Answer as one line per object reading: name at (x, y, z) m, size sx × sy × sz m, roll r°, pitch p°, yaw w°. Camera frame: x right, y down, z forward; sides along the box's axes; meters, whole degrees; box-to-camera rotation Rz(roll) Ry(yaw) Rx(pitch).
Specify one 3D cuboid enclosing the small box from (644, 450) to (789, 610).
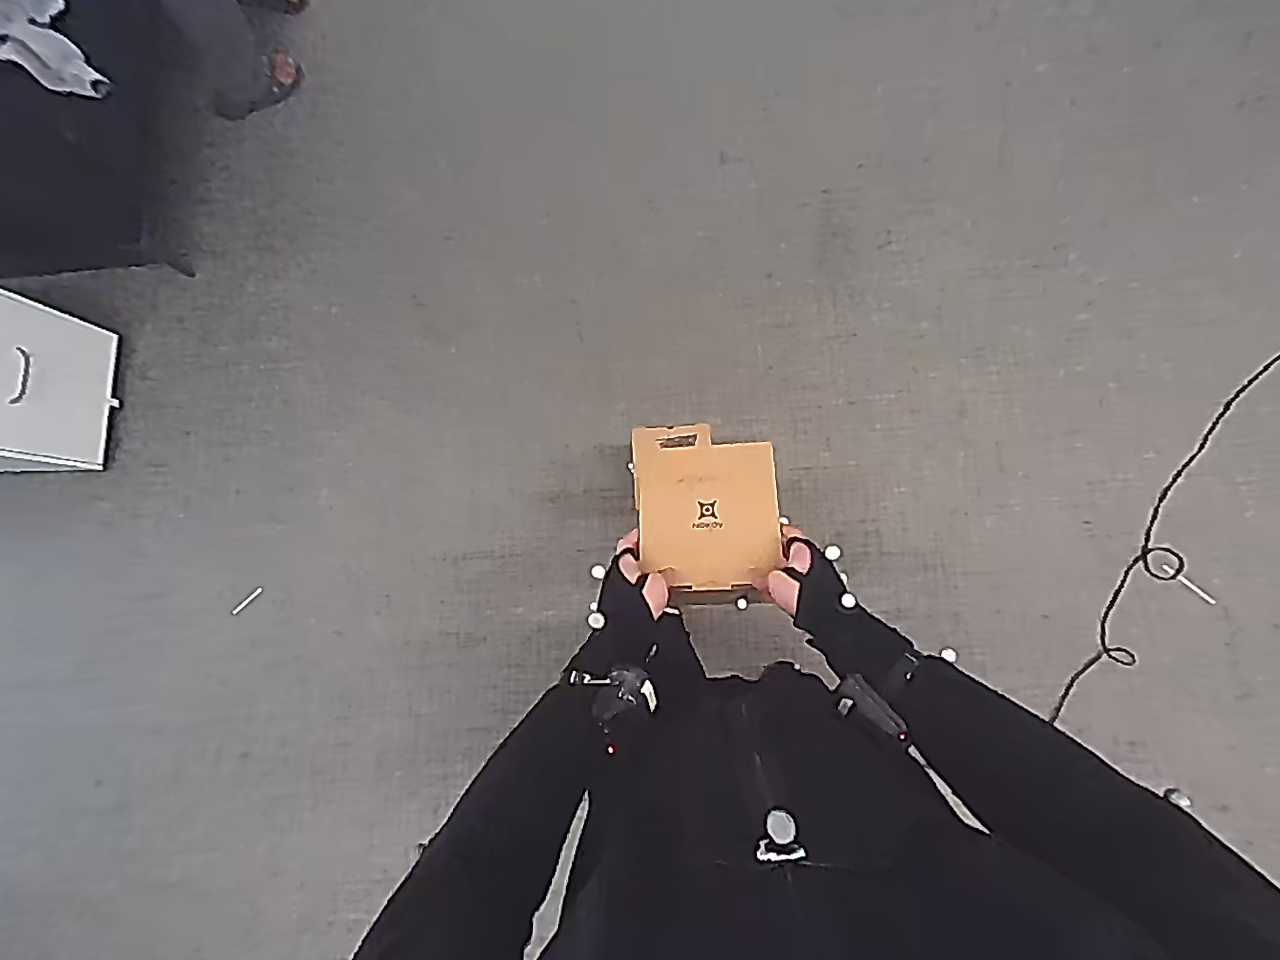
small box at (0.095, 0.075, 0.706) m, size 0.168 × 0.176 × 0.179 m, roll -2°, pitch 69°, yaw 6°

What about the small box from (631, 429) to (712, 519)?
small box at (0.070, -0.006, 1.186) m, size 0.168 × 0.176 × 0.179 m, roll 0°, pitch 81°, yaw 5°
